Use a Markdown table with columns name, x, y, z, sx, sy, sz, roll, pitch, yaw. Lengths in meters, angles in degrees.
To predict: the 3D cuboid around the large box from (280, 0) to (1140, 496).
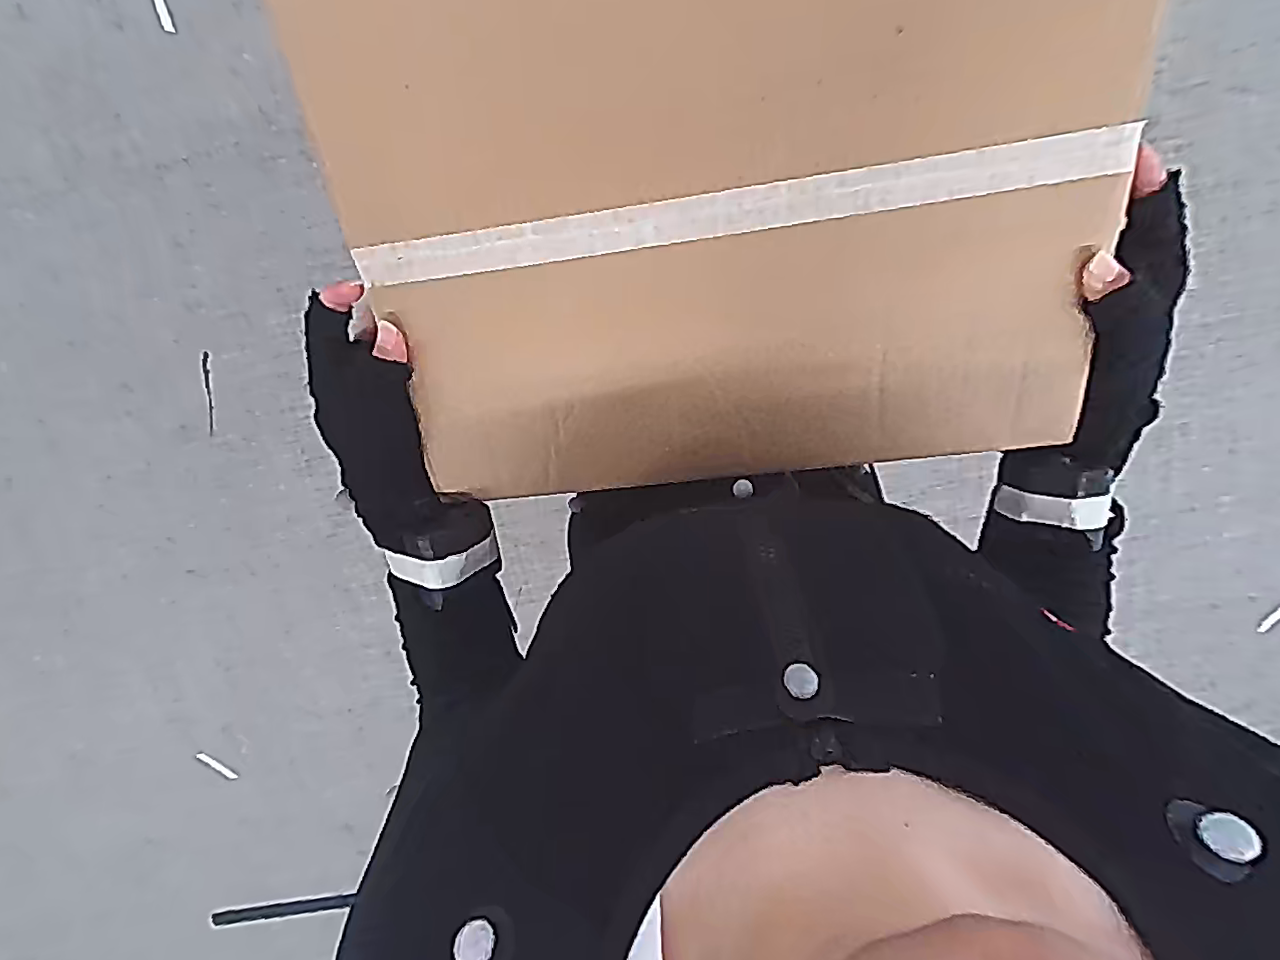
| name | x | y | z | sx | sy | sz | roll | pitch | yaw |
| --- | --- | --- | --- | --- | --- | --- | --- | --- | --- |
| large box | 0.049 | -0.213 | 0.427 | 0.408 | 0.320 | 0.320 | -6 | 116 | 6 |
